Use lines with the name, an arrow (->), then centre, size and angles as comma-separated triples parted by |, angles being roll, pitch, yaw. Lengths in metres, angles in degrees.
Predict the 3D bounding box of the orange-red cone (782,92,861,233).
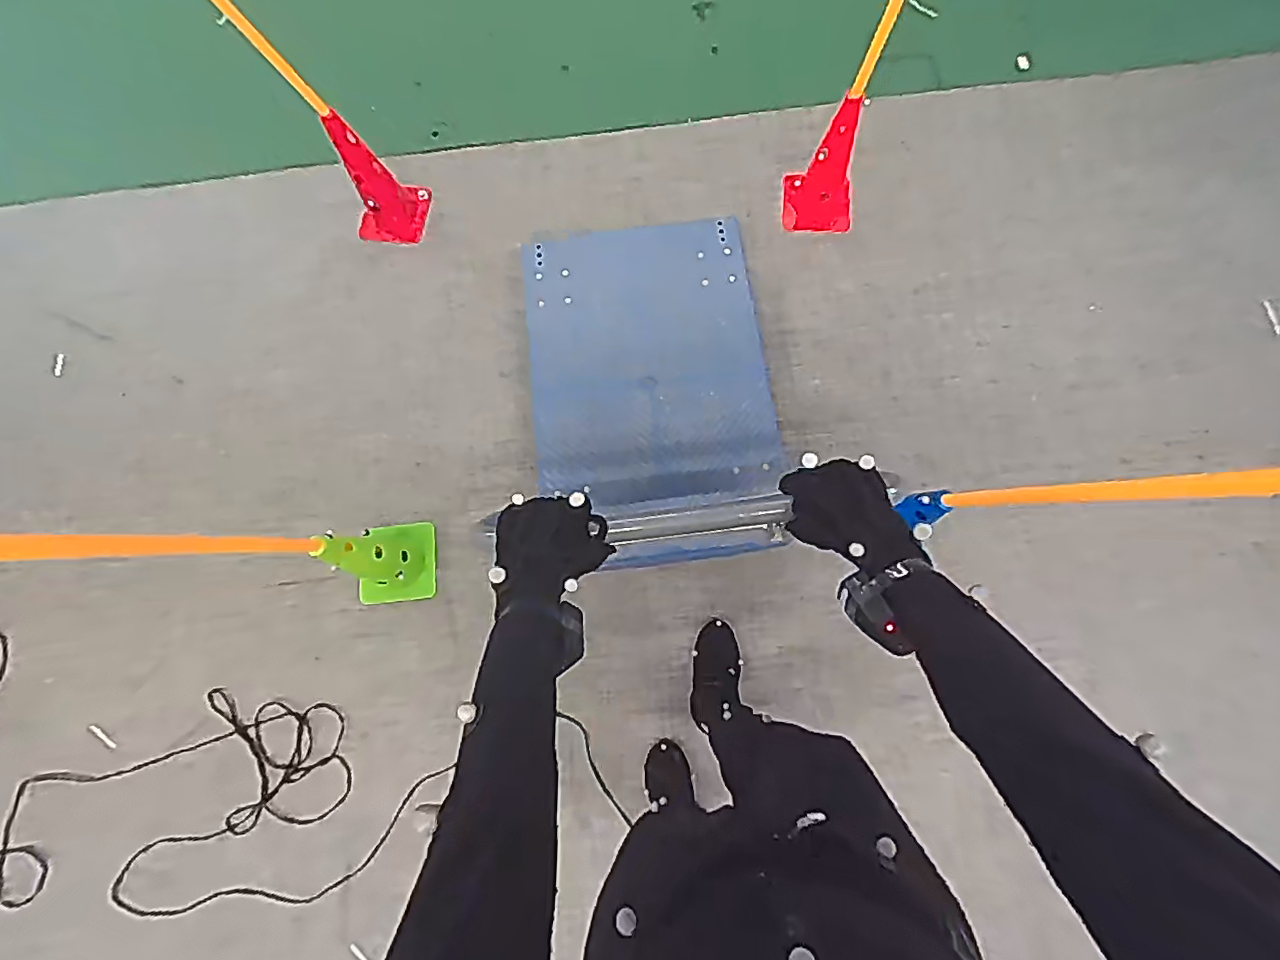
orange-red cone -> 0.520, -0.868, 1.457 | 0.198, 0.360, 0.199 | 5, 77, 5
